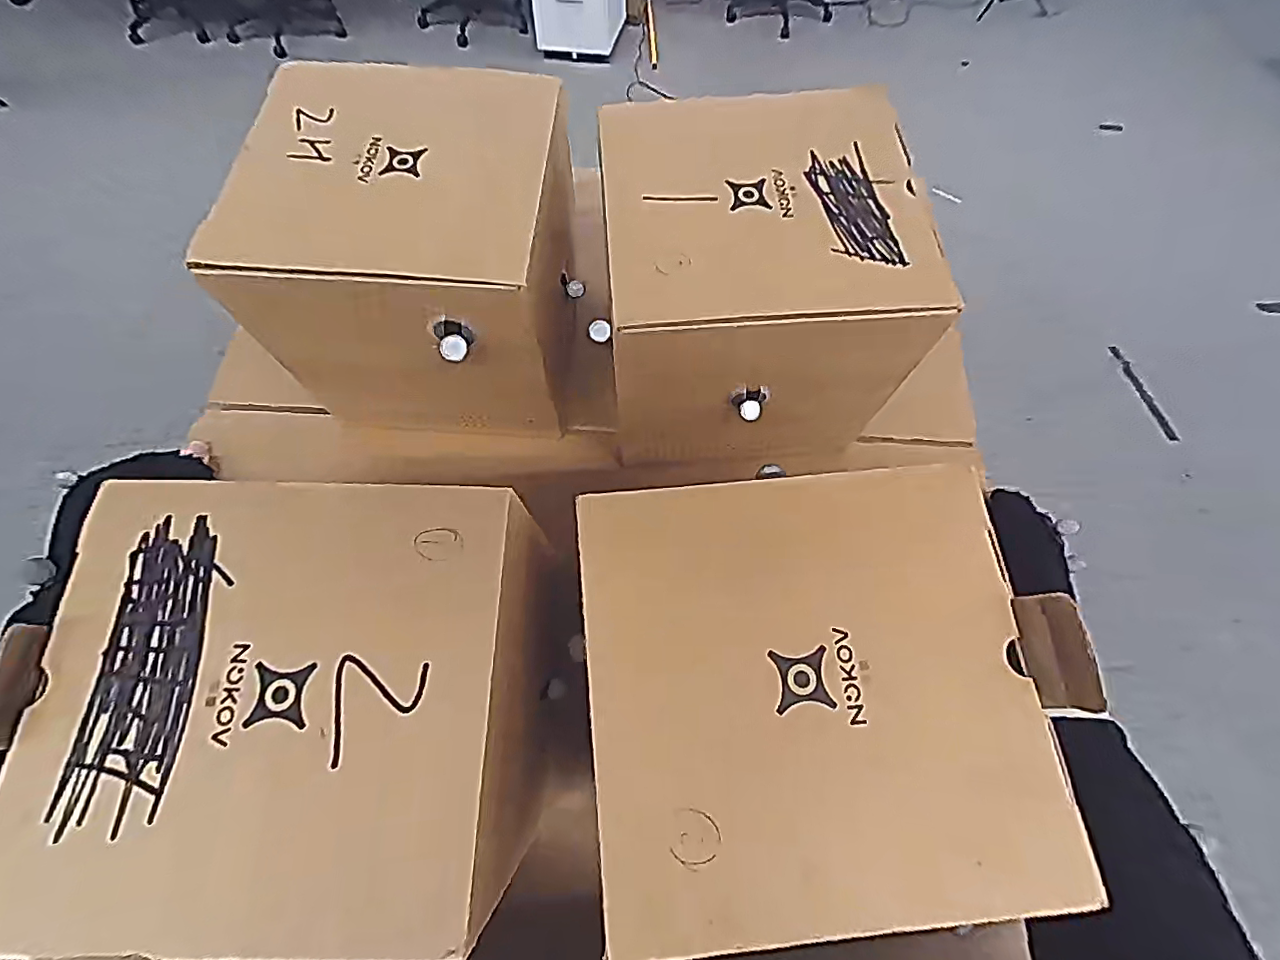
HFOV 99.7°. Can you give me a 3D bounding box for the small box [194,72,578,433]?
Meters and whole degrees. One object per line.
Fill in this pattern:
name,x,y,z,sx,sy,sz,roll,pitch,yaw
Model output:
small box,-0.143,-0.145,0.385,0.179,0.176,0.168,4,67,1
